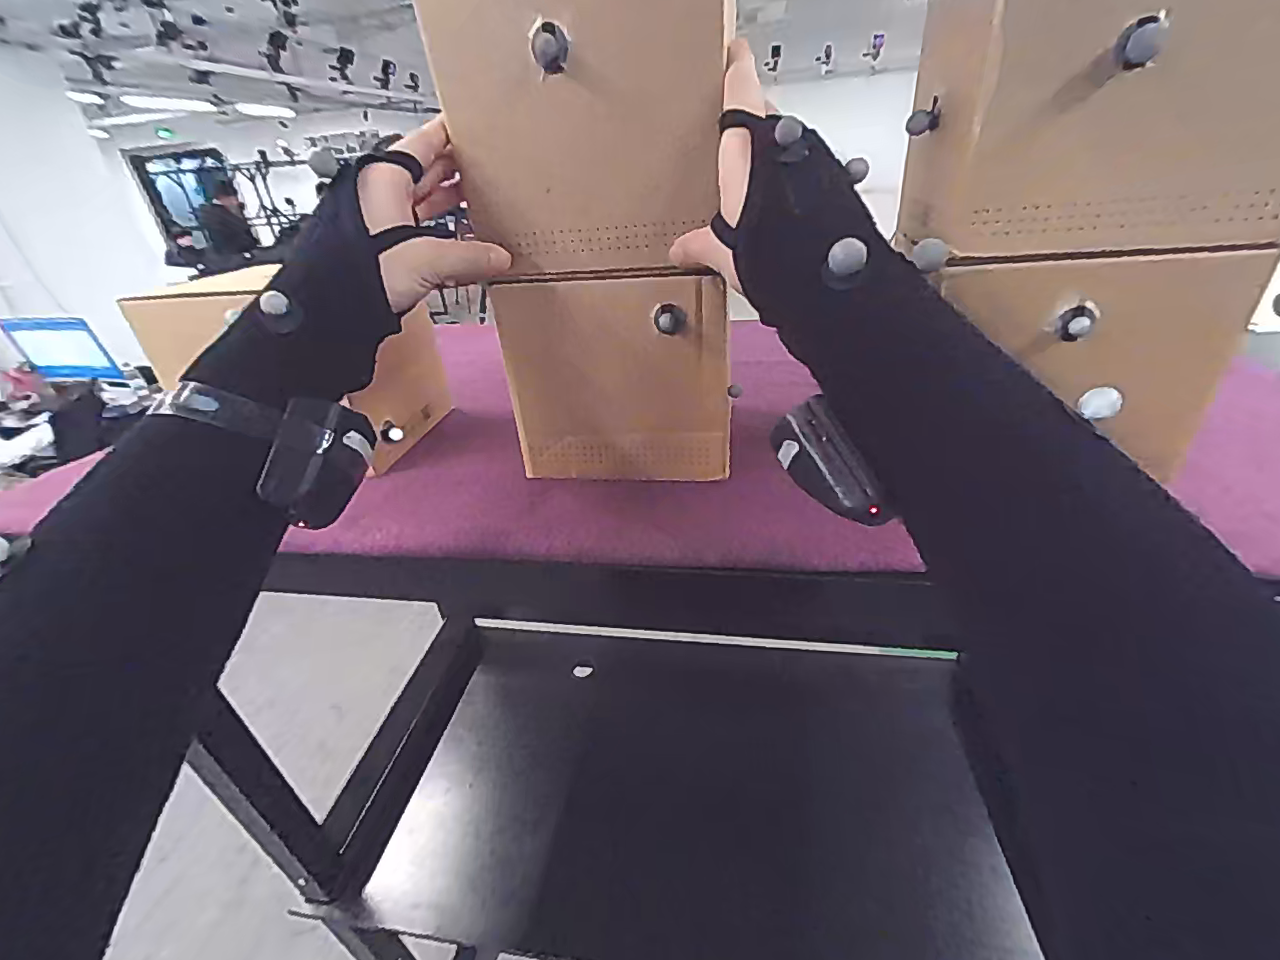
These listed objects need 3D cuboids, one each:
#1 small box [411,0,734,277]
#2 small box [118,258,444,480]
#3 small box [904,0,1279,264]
[{"bbox_3d":[-0.025,-0.255,0.391,0.179,0.176,0.168,1,38,11],"label":"small box"},{"bbox_3d":[-0.318,-0.109,0.528,0.179,0.176,0.168,-1,30,9],"label":"small box"},{"bbox_3d":[0.277,-0.240,0.341,0.179,0.176,0.168,1,32,14],"label":"small box"}]
